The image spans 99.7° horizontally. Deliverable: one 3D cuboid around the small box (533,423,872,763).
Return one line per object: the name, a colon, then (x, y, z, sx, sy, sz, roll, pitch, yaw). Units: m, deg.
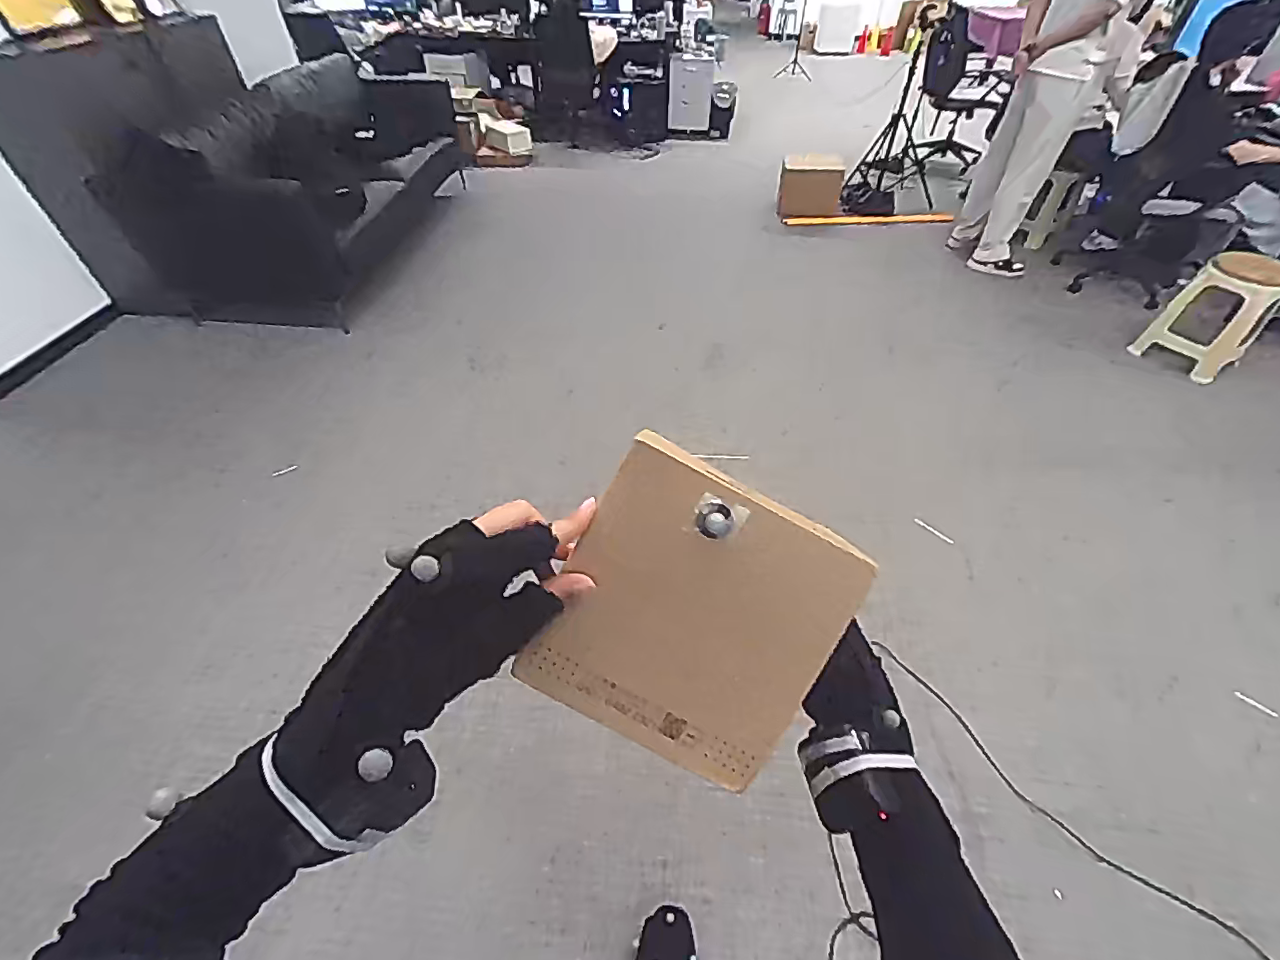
small box: (0.037, 0.071, 0.421, 0.168, 0.176, 0.179, 28, 5, 1)
